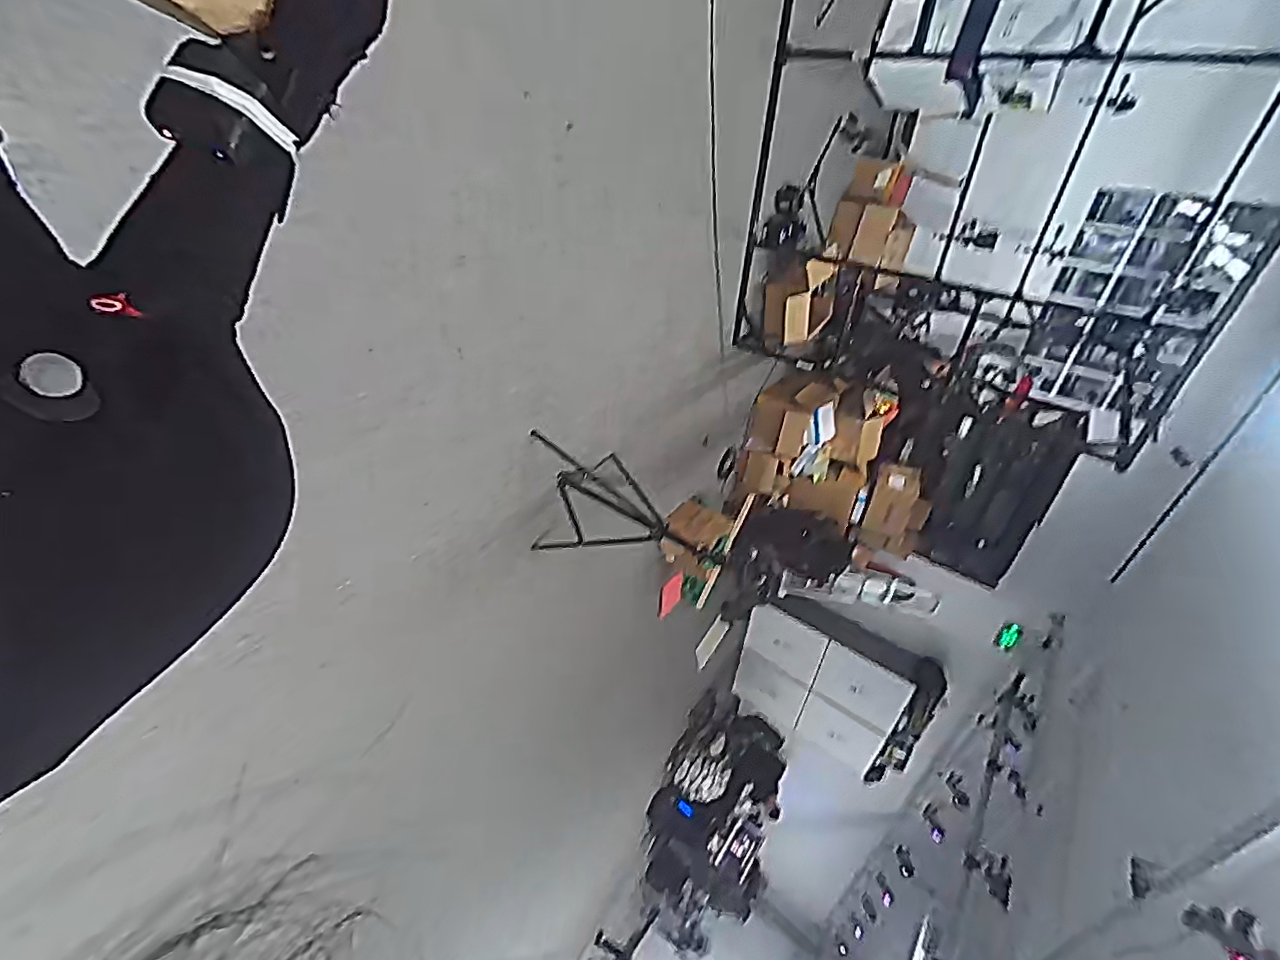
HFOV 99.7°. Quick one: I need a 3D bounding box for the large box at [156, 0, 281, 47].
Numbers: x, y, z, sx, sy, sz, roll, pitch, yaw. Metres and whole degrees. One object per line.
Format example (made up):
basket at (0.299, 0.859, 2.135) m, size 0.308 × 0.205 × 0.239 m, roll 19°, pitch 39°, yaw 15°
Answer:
large box at (-0.410, -0.555, 0.277) m, size 0.320 × 0.320 × 0.408 m, roll -56°, pitch 154°, yaw 10°
